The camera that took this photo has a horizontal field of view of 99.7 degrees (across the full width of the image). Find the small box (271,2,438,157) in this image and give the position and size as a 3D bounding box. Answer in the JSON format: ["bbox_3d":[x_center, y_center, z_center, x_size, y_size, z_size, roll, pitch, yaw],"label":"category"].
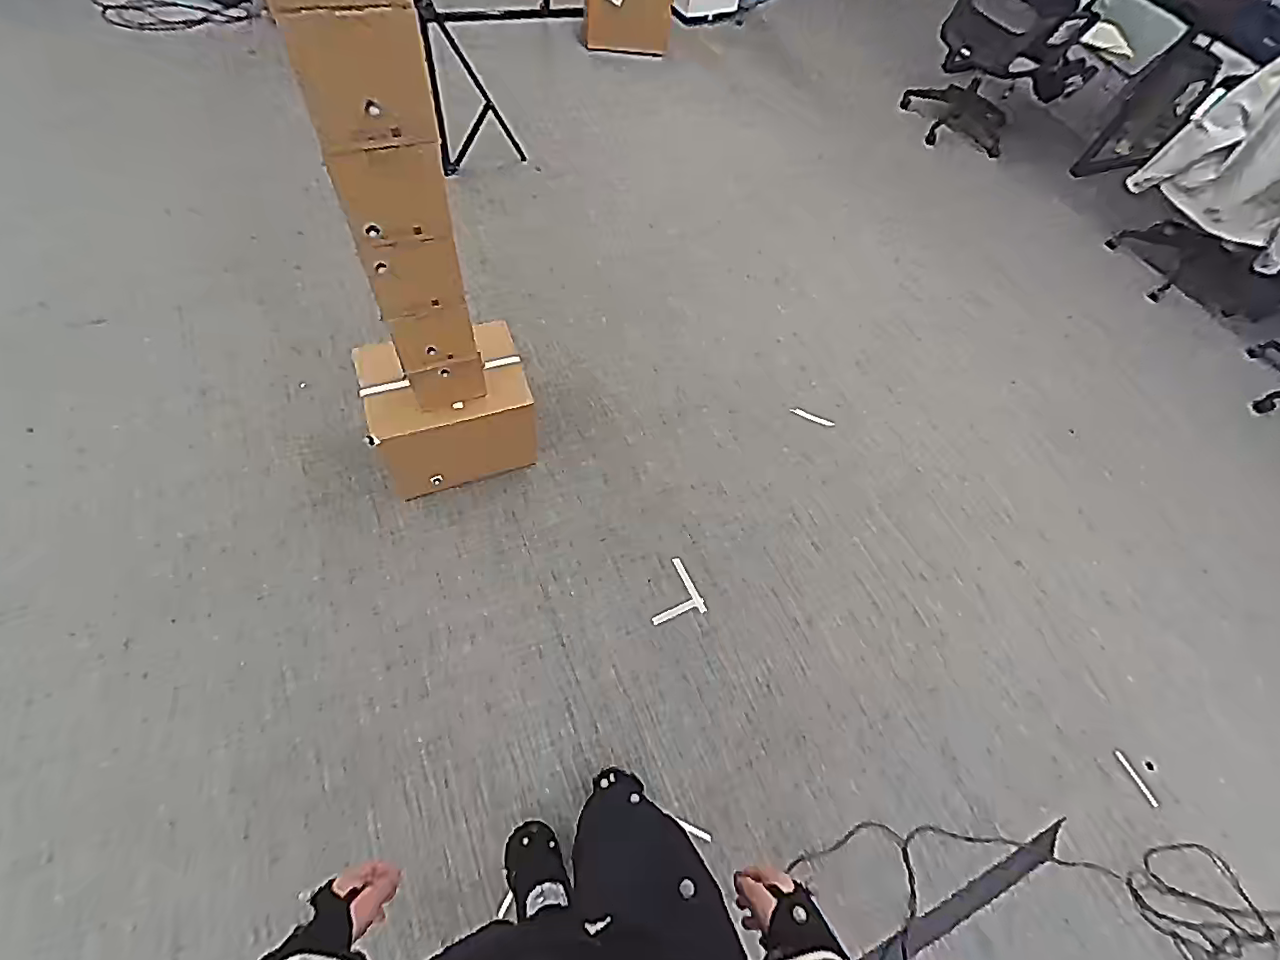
[{"bbox_3d":[-0.403,-0.595,0.766,0.168,0.176,0.179,-19,67,-18],"label":"small box"}]

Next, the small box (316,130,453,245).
[{"bbox_3d":[-0.426,-0.518,0.910,0.168,0.176,0.179,-16,65,-17],"label":"small box"}]

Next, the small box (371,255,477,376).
[{"bbox_3d":[-0.471,-0.362,1.195,0.168,0.176,0.179,-19,66,-18],"label":"small box"}]

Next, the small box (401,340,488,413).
[{"bbox_3d":[-0.492,-0.290,1.339,0.179,0.176,0.168,-19,66,-19],"label":"small box"}]

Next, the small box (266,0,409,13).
[{"bbox_3d":[-0.386,-0.676,0.624,0.168,0.176,0.179,-20,67,-19],"label":"small box"}]
